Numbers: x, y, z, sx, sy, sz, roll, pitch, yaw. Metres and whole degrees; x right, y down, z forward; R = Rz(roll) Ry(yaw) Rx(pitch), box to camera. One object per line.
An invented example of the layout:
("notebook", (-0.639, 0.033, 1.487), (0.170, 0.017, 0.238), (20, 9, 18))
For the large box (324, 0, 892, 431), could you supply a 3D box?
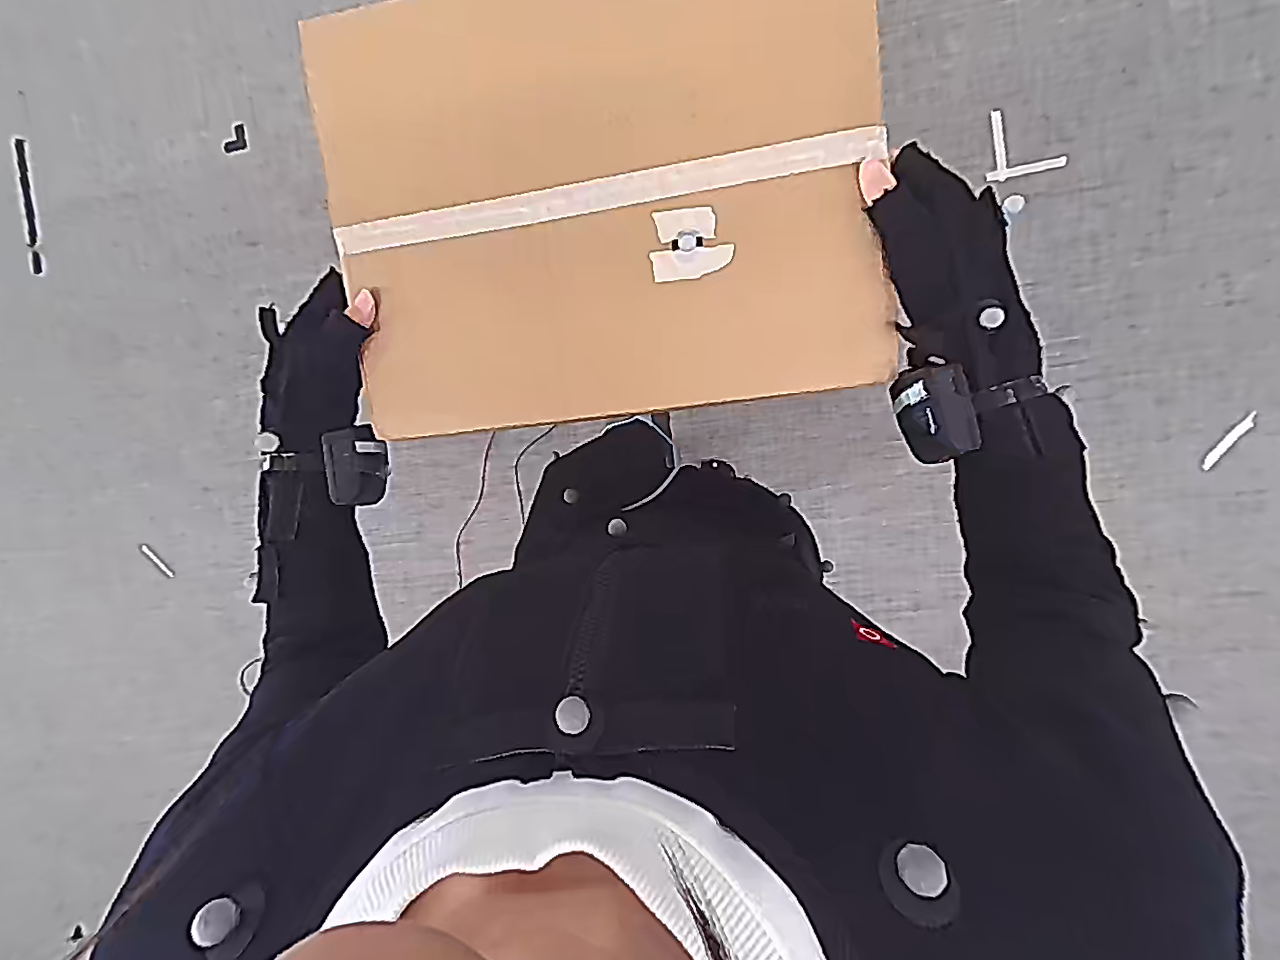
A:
("large box", (-0.013, -0.234, 0.550), (0.408, 0.320, 0.320), (-6, 98, 8))
